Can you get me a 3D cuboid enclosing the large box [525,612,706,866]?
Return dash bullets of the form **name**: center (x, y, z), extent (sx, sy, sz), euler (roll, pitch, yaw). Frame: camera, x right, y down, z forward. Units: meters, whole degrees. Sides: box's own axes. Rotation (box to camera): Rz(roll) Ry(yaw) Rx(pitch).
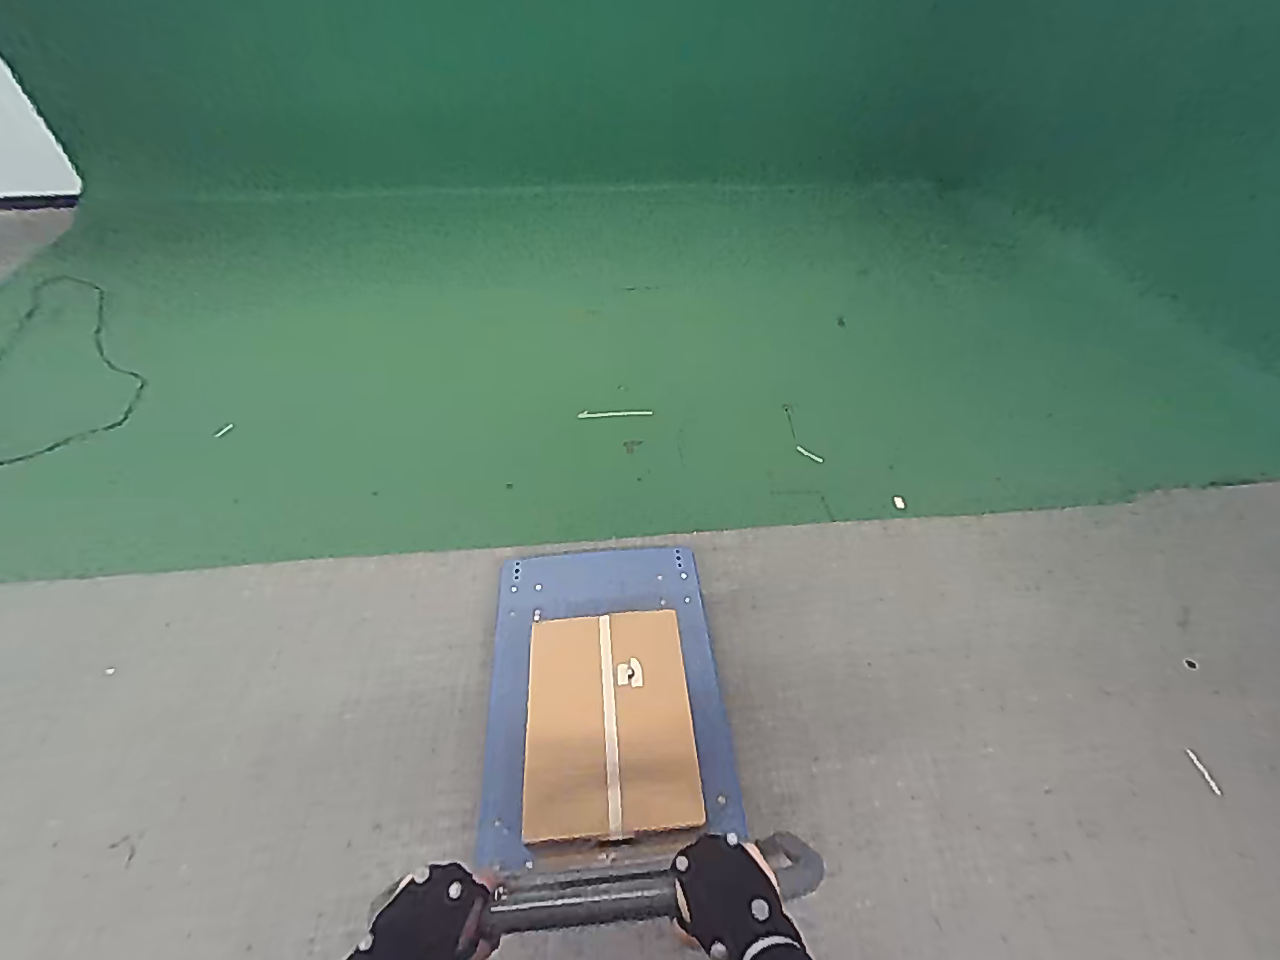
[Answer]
- **large box**: center (-0.056, 0.545, 1.151), extent (0.320, 0.320, 0.408), euler (-3, 48, -3)
